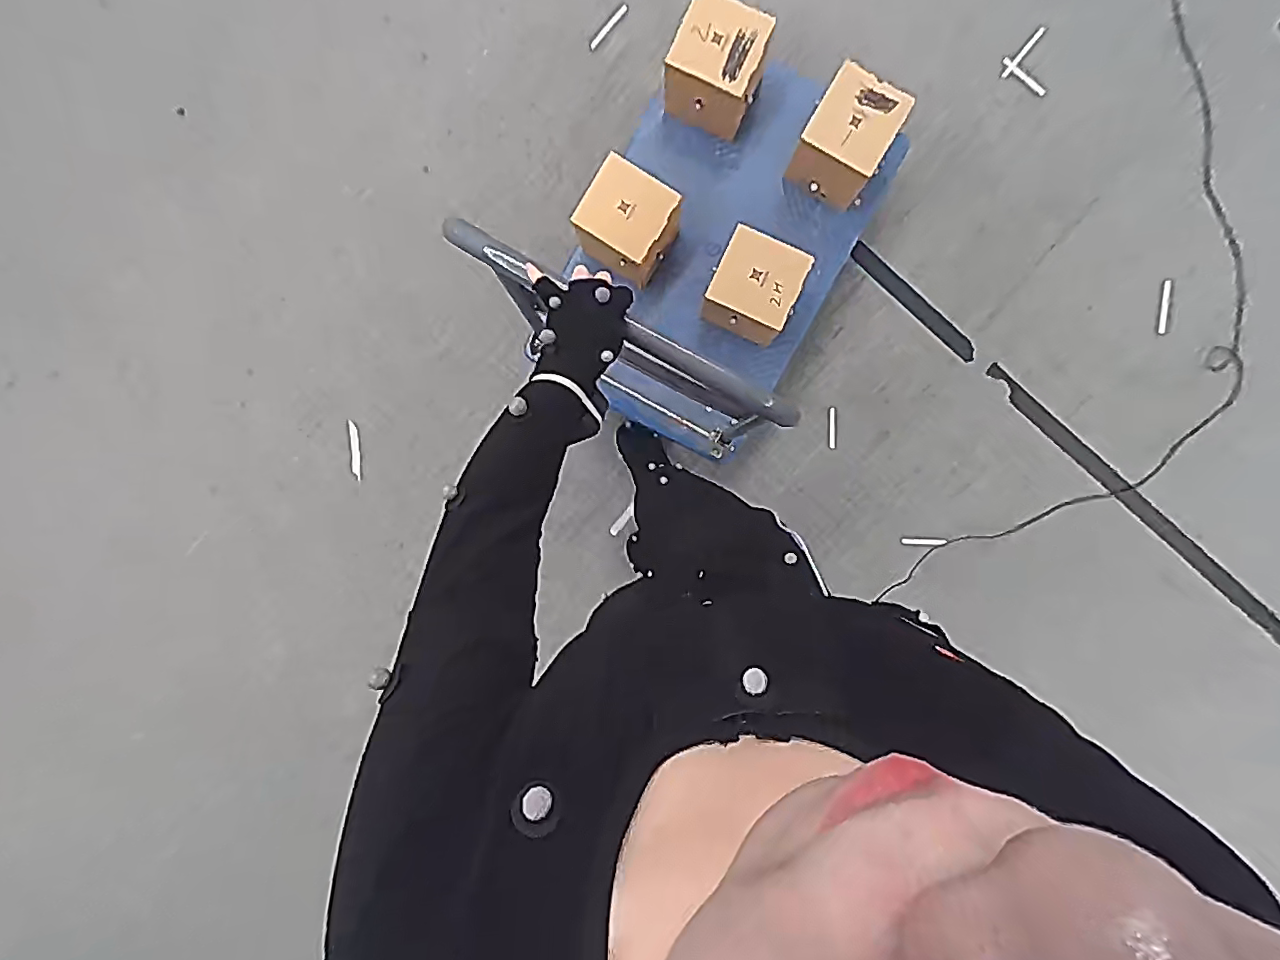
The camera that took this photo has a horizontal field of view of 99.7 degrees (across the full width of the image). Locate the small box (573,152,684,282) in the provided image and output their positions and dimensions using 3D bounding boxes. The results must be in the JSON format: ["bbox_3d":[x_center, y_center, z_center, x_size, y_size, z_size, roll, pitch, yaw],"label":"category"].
[{"bbox_3d":[-0.024,-0.564,1.189,0.179,0.176,0.168,32,94,-1],"label":"small box"}]

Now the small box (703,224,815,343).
[{"bbox_3d":[0.249,-0.419,1.185,0.179,0.176,0.168,26,94,1],"label":"small box"}]

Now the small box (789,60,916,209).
[{"bbox_3d":[0.442,-0.727,1.161,0.168,0.176,0.179,31,95,0],"label":"small box"}]
